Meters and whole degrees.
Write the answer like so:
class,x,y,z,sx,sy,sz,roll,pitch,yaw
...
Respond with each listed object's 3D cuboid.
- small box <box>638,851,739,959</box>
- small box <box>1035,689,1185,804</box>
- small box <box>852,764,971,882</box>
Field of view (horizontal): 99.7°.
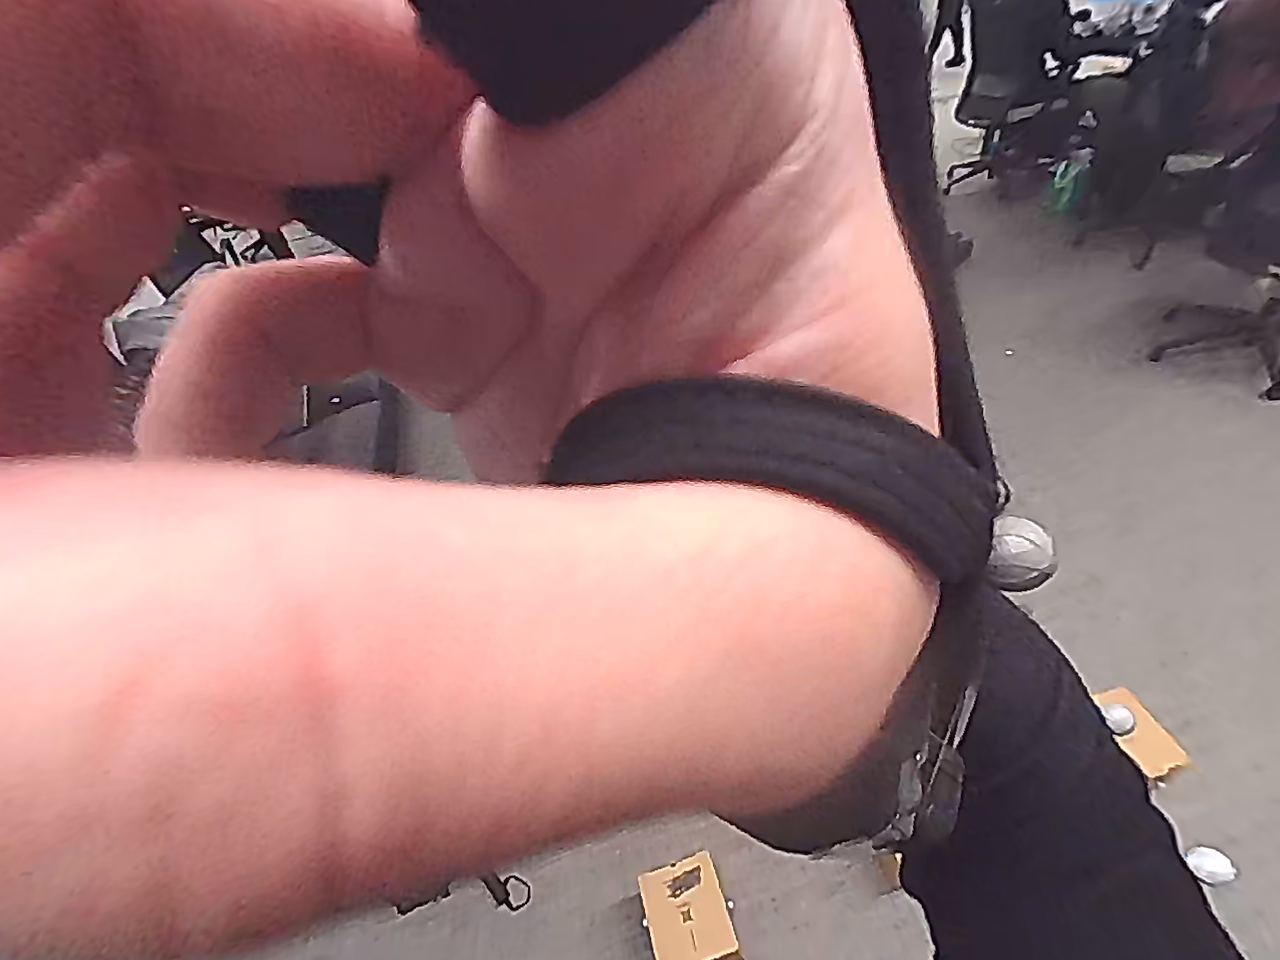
class,x,y,z,sx,sy,sz,roll,pitch,yaw
small box,0.106,0.946,1.169,0.168,0.176,0.179,-18,44,-4
small box,1.074,0.624,1.254,0.168,0.176,0.179,-16,41,-3
small box,0.599,0.778,1.218,0.168,0.176,0.179,-16,43,-2
